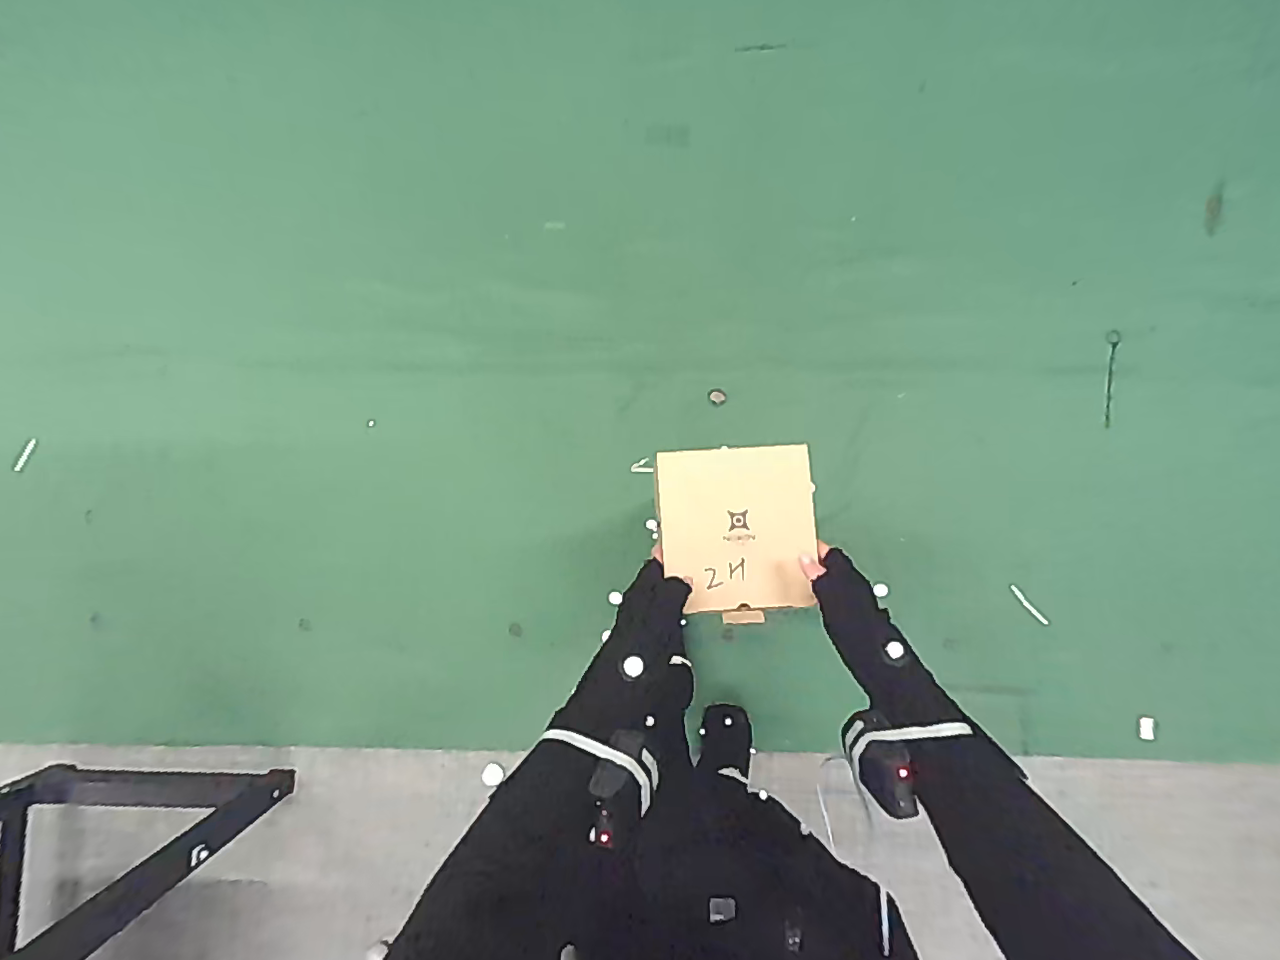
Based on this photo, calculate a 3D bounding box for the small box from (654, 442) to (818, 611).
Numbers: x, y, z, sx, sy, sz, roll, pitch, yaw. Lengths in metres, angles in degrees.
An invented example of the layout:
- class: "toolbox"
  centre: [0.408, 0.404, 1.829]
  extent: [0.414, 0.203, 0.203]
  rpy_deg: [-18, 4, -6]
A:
- class: "small box"
  centre: [0.103, 0.057, 0.657]
  extent: [0.168, 0.176, 0.179]
  rpy_deg: [-4, 85, 1]
